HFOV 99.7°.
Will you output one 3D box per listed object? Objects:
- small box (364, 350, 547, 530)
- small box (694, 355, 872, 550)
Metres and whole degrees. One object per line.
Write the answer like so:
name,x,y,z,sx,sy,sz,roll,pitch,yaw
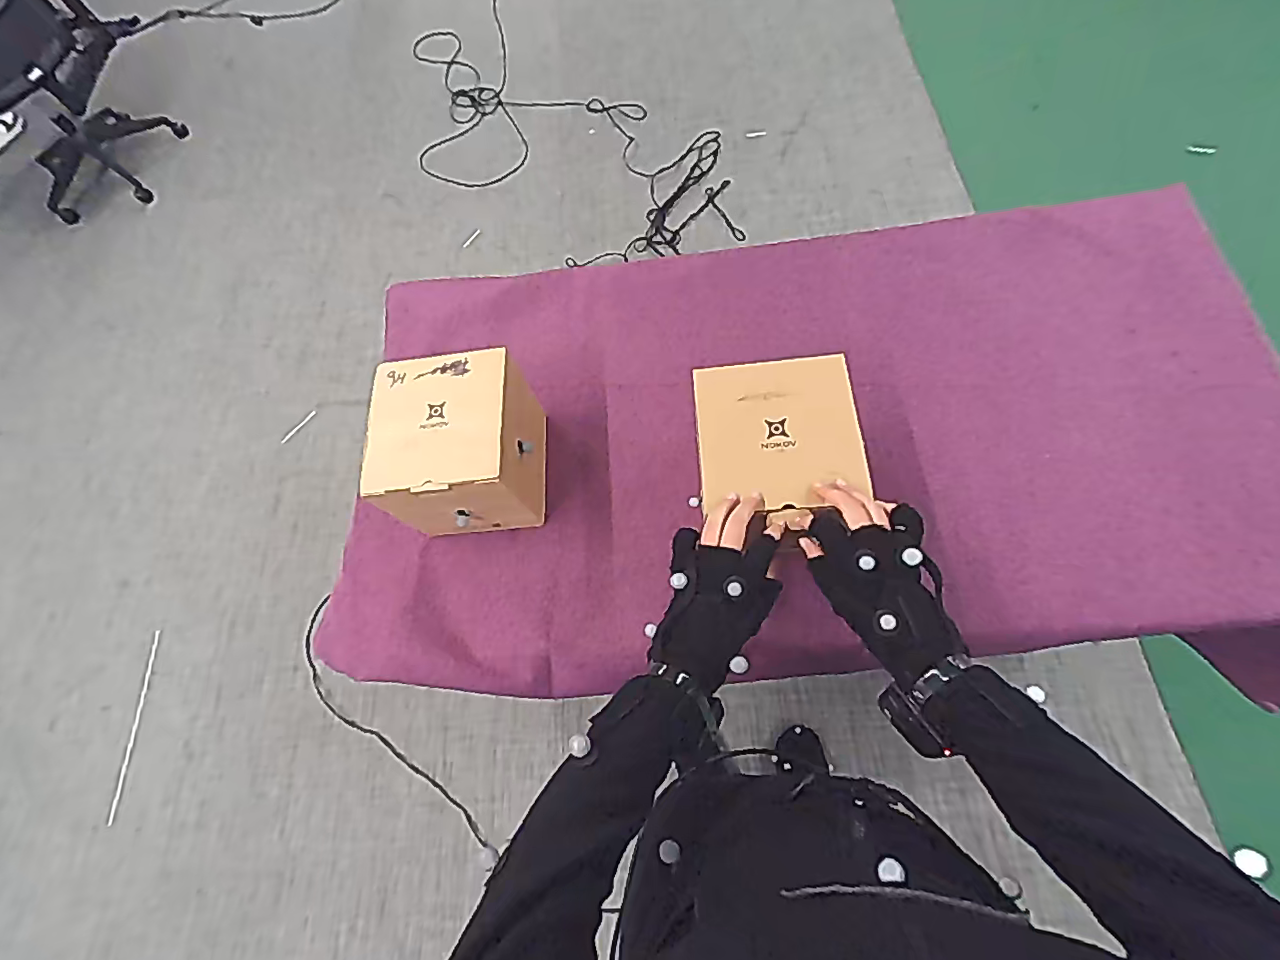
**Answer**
small box,-0.221,-0.040,0.698,0.168,0.176,0.179,-6,68,6
small box,0.154,-0.019,0.634,0.168,0.176,0.179,-5,67,6
